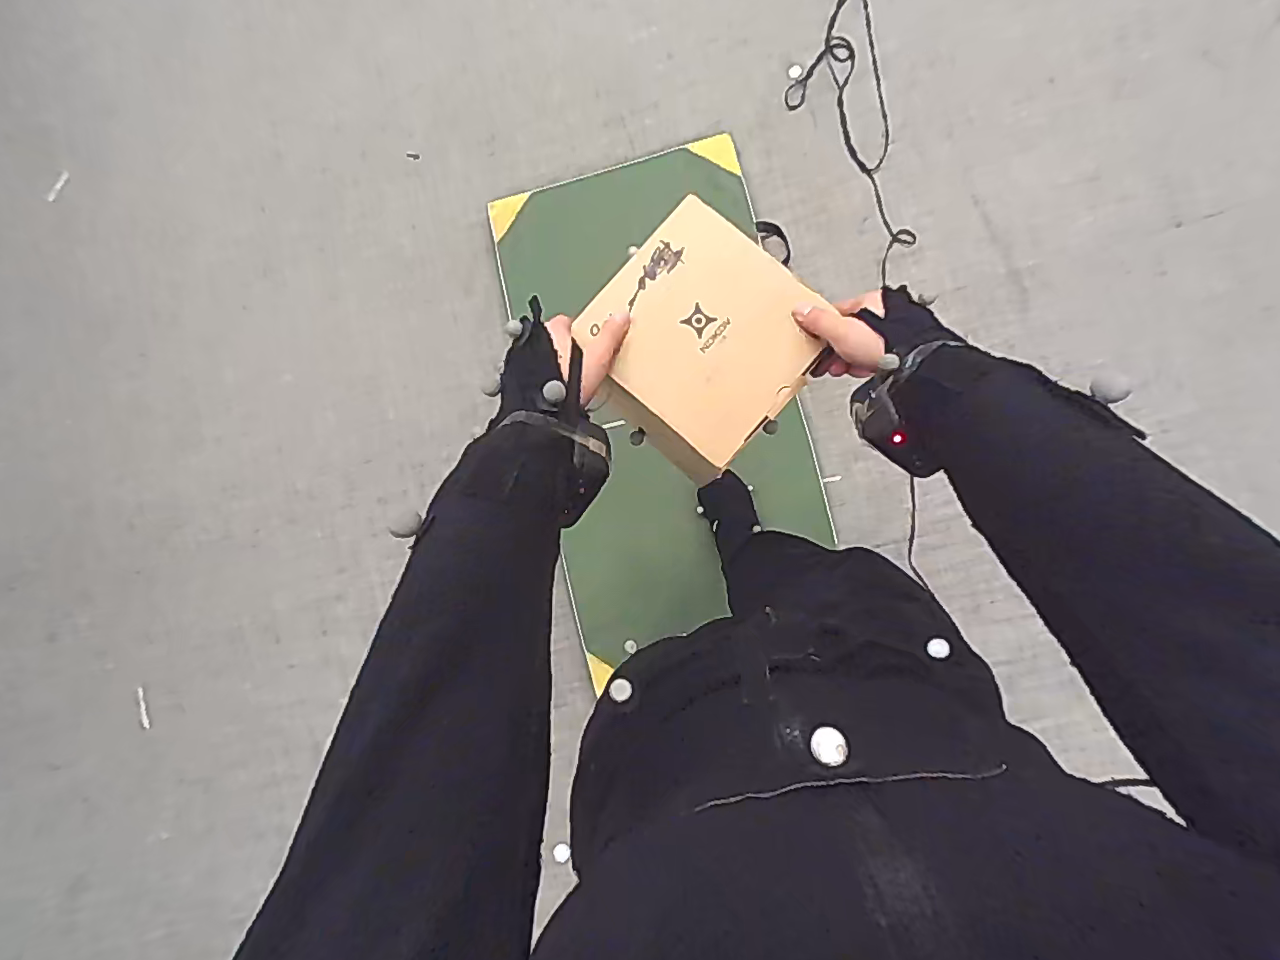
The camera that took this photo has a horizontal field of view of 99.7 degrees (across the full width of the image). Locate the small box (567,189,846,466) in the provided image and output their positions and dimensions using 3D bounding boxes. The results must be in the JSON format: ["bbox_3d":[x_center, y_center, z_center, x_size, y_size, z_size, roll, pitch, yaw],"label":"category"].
[{"bbox_3d":[0.056,-0.126,0.528,0.179,0.176,0.168,41,87,3],"label":"small box"}]
